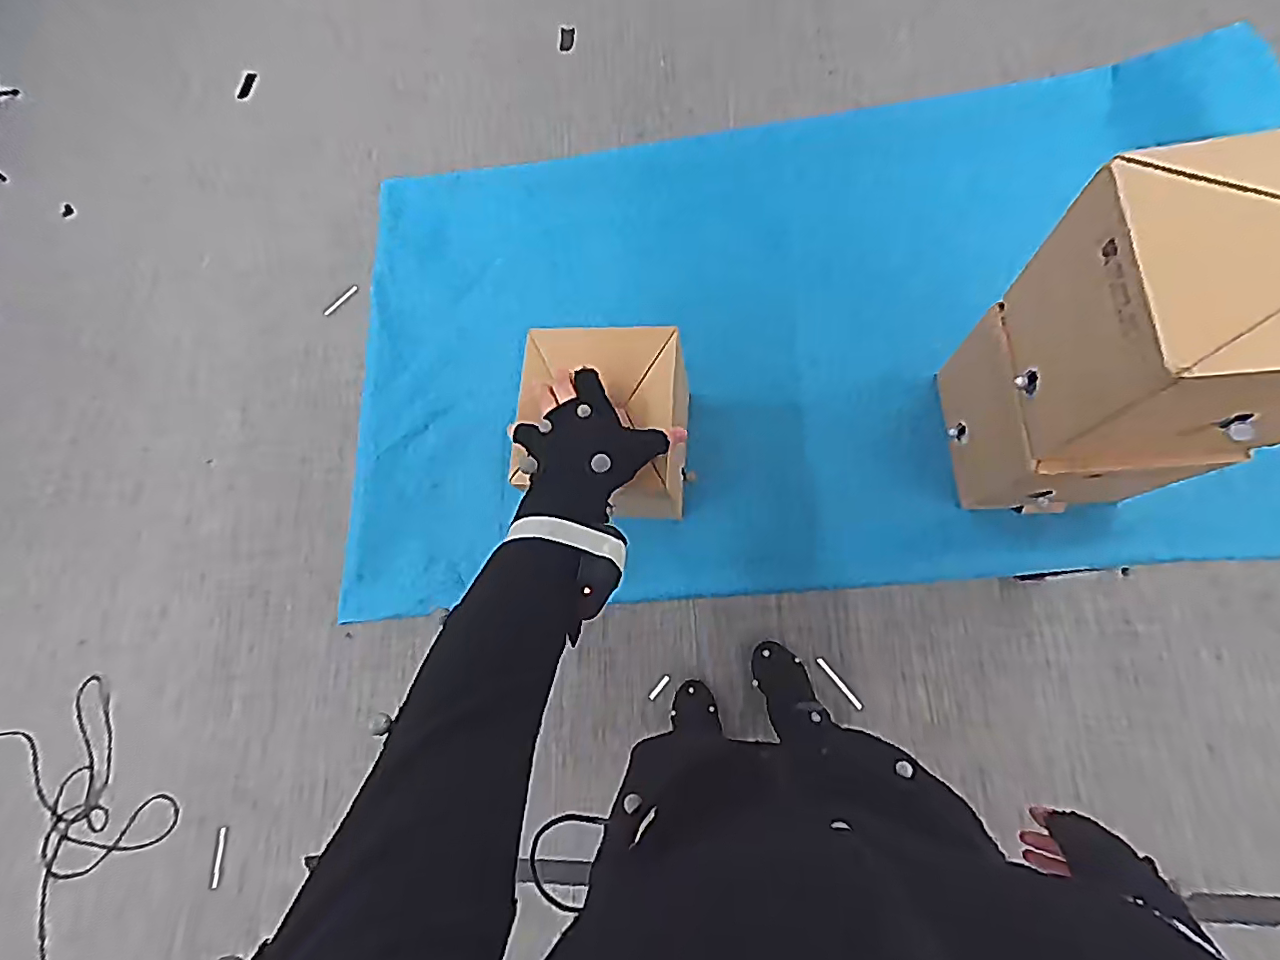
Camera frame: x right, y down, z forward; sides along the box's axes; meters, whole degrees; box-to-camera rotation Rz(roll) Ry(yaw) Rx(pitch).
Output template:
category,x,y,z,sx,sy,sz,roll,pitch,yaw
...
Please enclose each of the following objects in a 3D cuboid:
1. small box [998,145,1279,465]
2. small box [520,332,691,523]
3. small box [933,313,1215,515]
category,x,y,z,sx,sy,sz,roll,pitch,yaw
small box,0.413,-0.118,0.407,0.179,0.176,0.168,-4,73,12
small box,-0.031,-0.052,0.637,0.168,0.176,0.179,1,76,10
small box,0.434,-0.070,0.562,0.168,0.176,0.179,-5,74,9
